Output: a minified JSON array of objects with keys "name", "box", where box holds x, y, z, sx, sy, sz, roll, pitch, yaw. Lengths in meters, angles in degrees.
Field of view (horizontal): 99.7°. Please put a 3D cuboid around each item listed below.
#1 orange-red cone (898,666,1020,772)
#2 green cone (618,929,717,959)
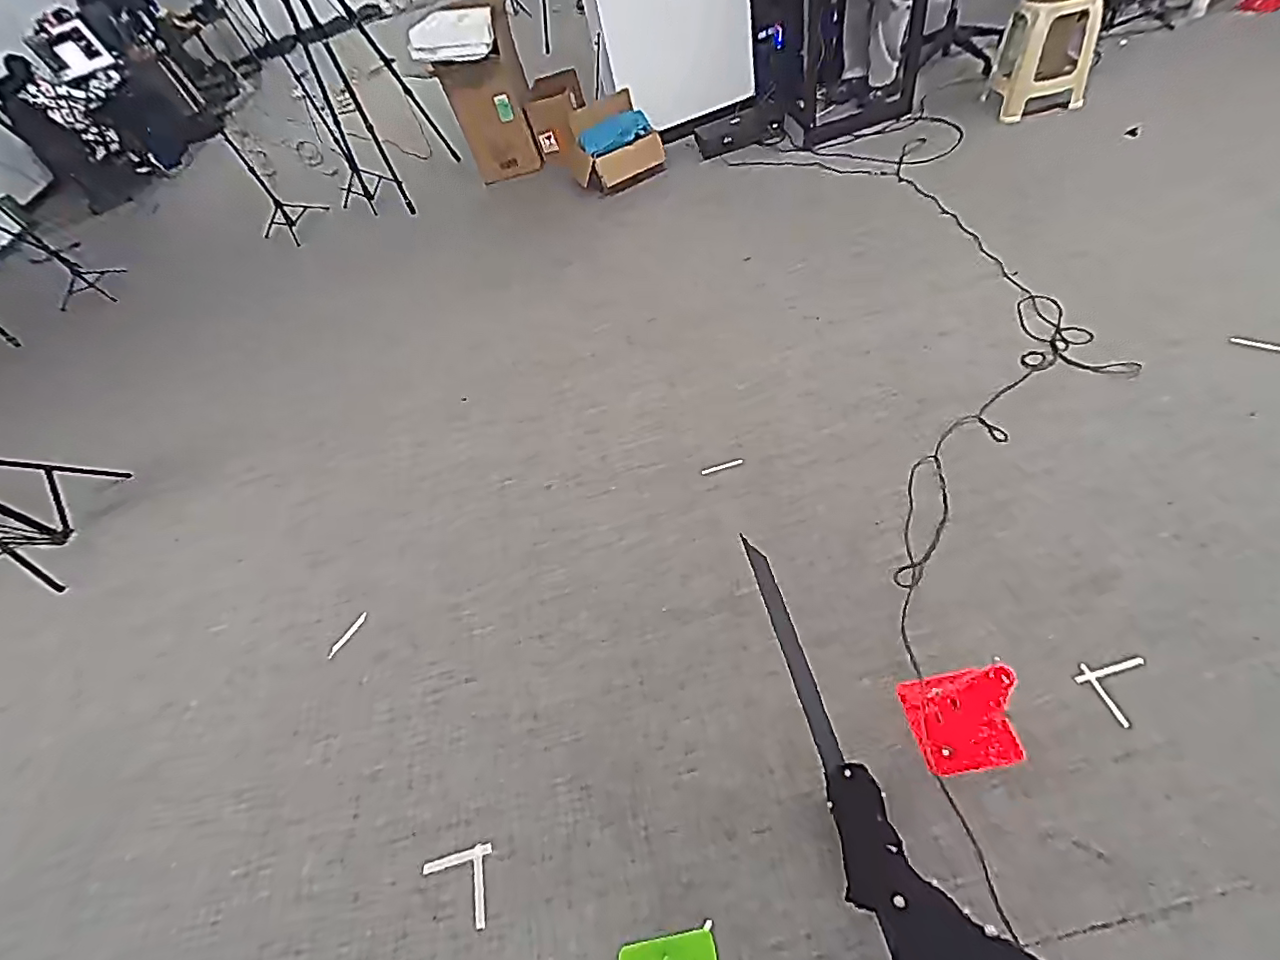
[{"name":"orange-red cone","box":[0.665,0.436,1.069,0.199,0.360,0.198,-13,53,6]},{"name":"green cone","box":[0.020,0.905,0.906,0.202,0.368,0.200,-18,51,5]}]
